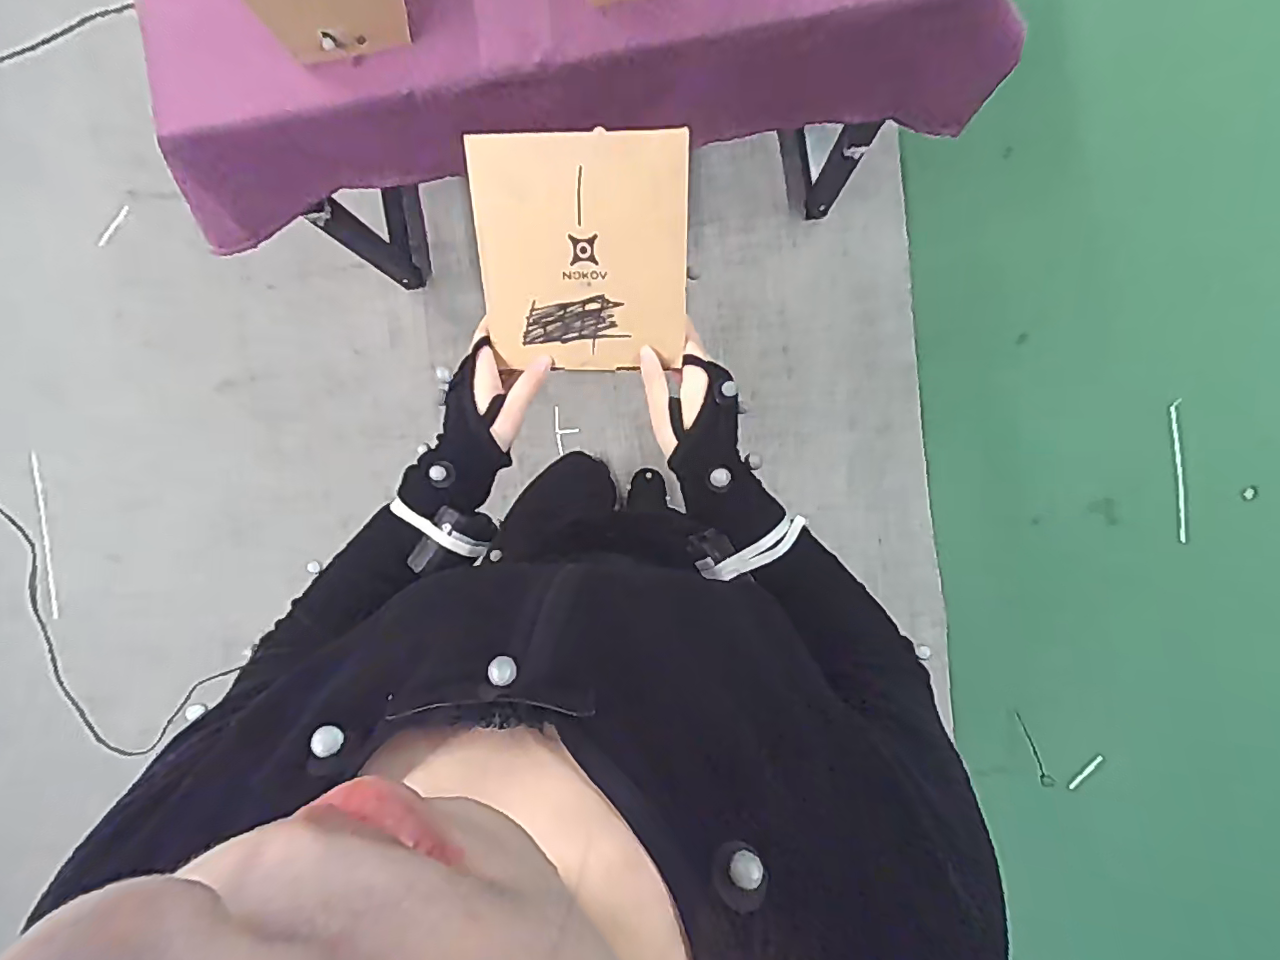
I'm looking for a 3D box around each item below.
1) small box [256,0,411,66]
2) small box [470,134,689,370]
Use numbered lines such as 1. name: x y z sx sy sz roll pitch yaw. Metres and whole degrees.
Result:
1. small box: -0.419 -0.690 0.696 0.168 0.176 0.179 -8 92 3
2. small box: -0.041 -0.209 0.503 0.168 0.176 0.179 0 115 2
